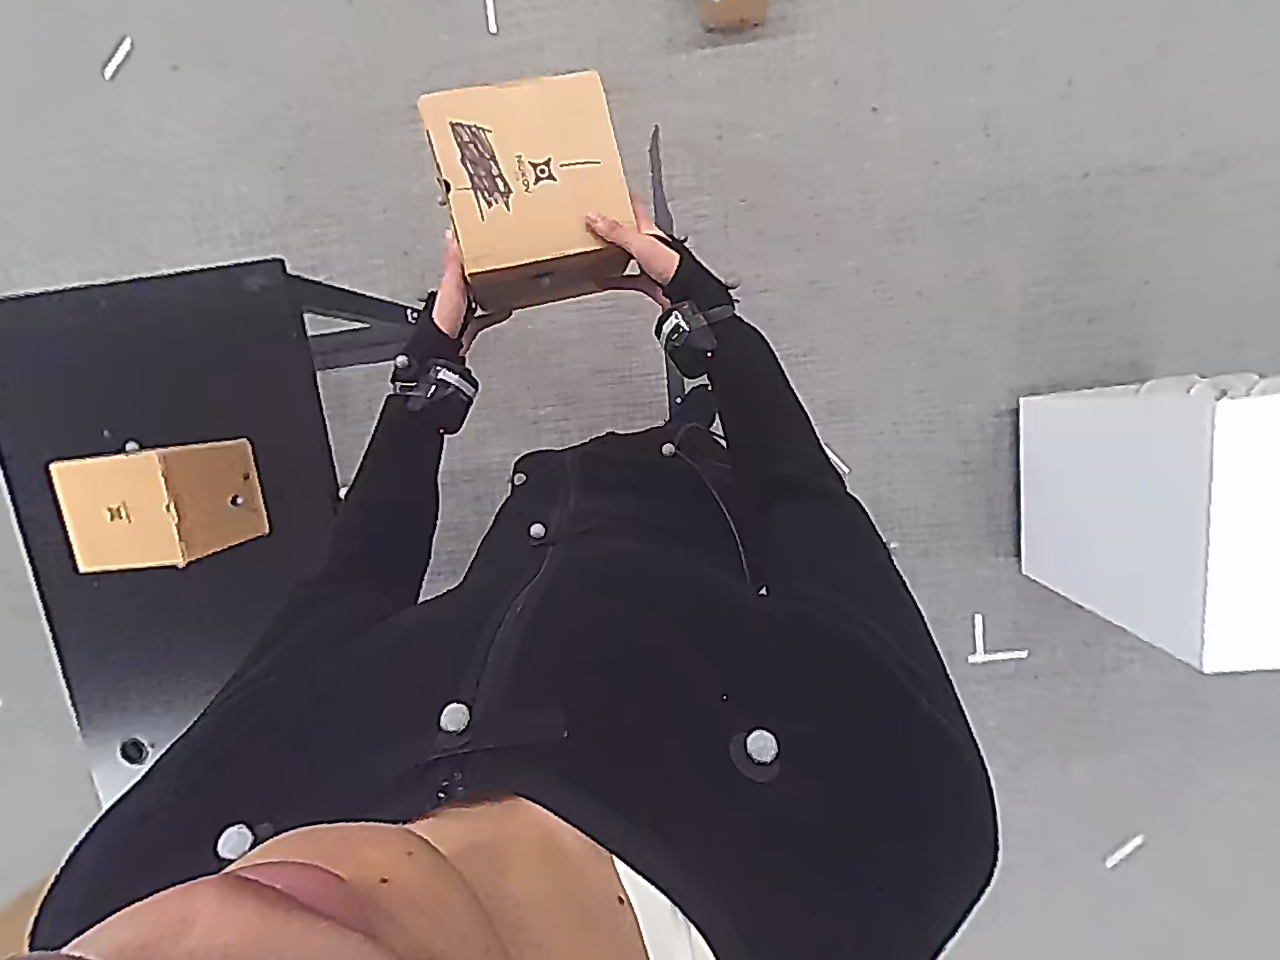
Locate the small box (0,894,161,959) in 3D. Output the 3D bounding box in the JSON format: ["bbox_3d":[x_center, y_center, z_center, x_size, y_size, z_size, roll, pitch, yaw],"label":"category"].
[{"bbox_3d":[-0.707,0.617,0.618,0.179,0.176,0.168,-7,100,5],"label":"small box"}]

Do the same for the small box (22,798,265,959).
[{"bbox_3d":[-0.696,0.591,0.779,0.179,0.176,0.168,-7,99,5],"label":"small box"}]

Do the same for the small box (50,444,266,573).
[{"bbox_3d":[-0.748,0.038,0.858,0.179,0.176,0.168,-6,99,5],"label":"small box"}]

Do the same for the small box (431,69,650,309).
[{"bbox_3d":[-0.104,-0.297,0.586,0.179,0.176,0.168,-14,96,-10],"label":"small box"}]
